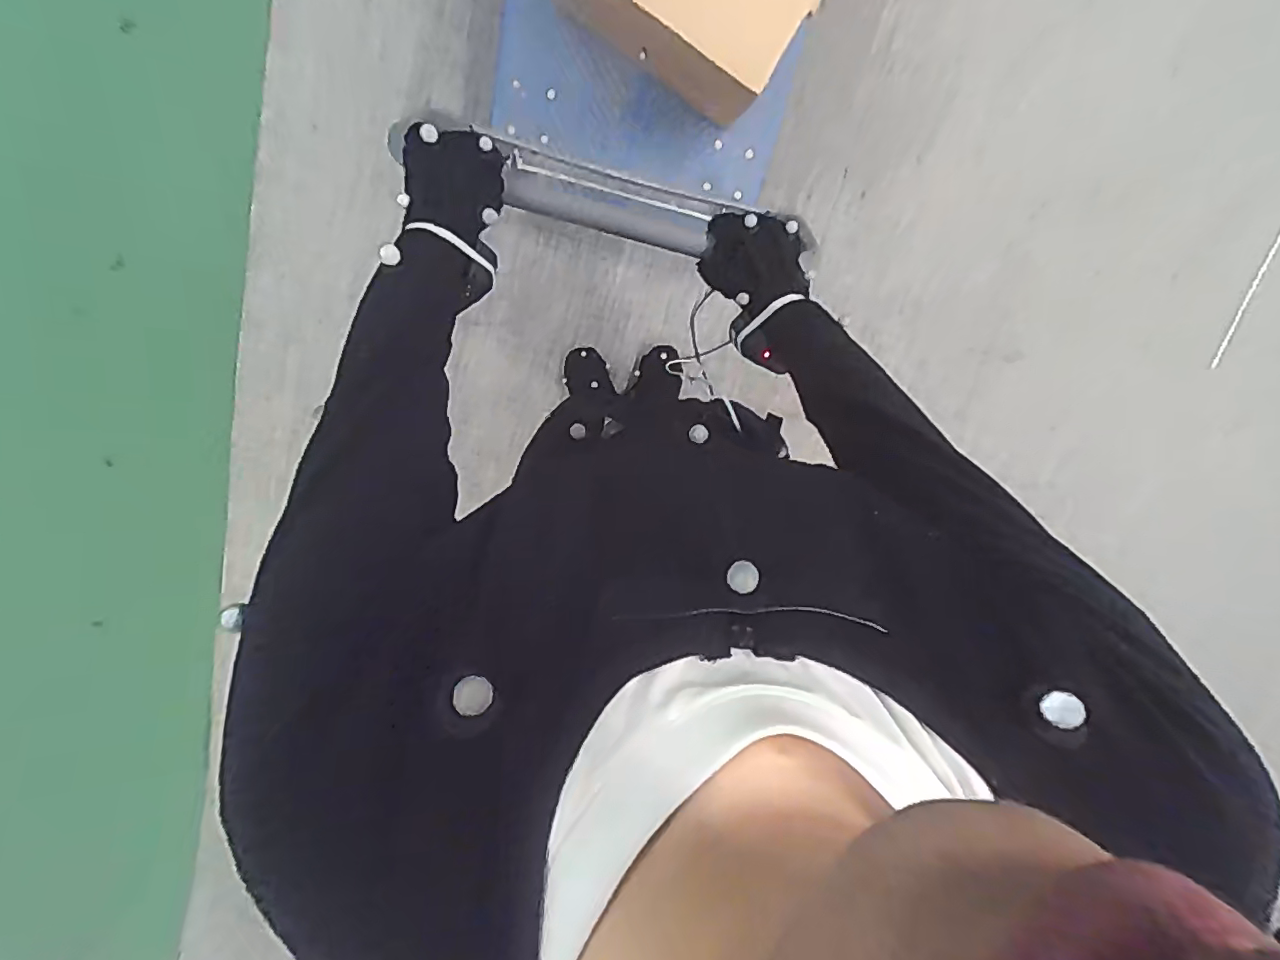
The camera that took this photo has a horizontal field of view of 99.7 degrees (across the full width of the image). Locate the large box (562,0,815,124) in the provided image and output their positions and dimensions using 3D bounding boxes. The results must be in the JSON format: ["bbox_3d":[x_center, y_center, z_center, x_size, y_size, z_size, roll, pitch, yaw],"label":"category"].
[{"bbox_3d":[0.097,-0.870,0.883,0.408,0.320,0.320,28,111,-12],"label":"large box"}]
